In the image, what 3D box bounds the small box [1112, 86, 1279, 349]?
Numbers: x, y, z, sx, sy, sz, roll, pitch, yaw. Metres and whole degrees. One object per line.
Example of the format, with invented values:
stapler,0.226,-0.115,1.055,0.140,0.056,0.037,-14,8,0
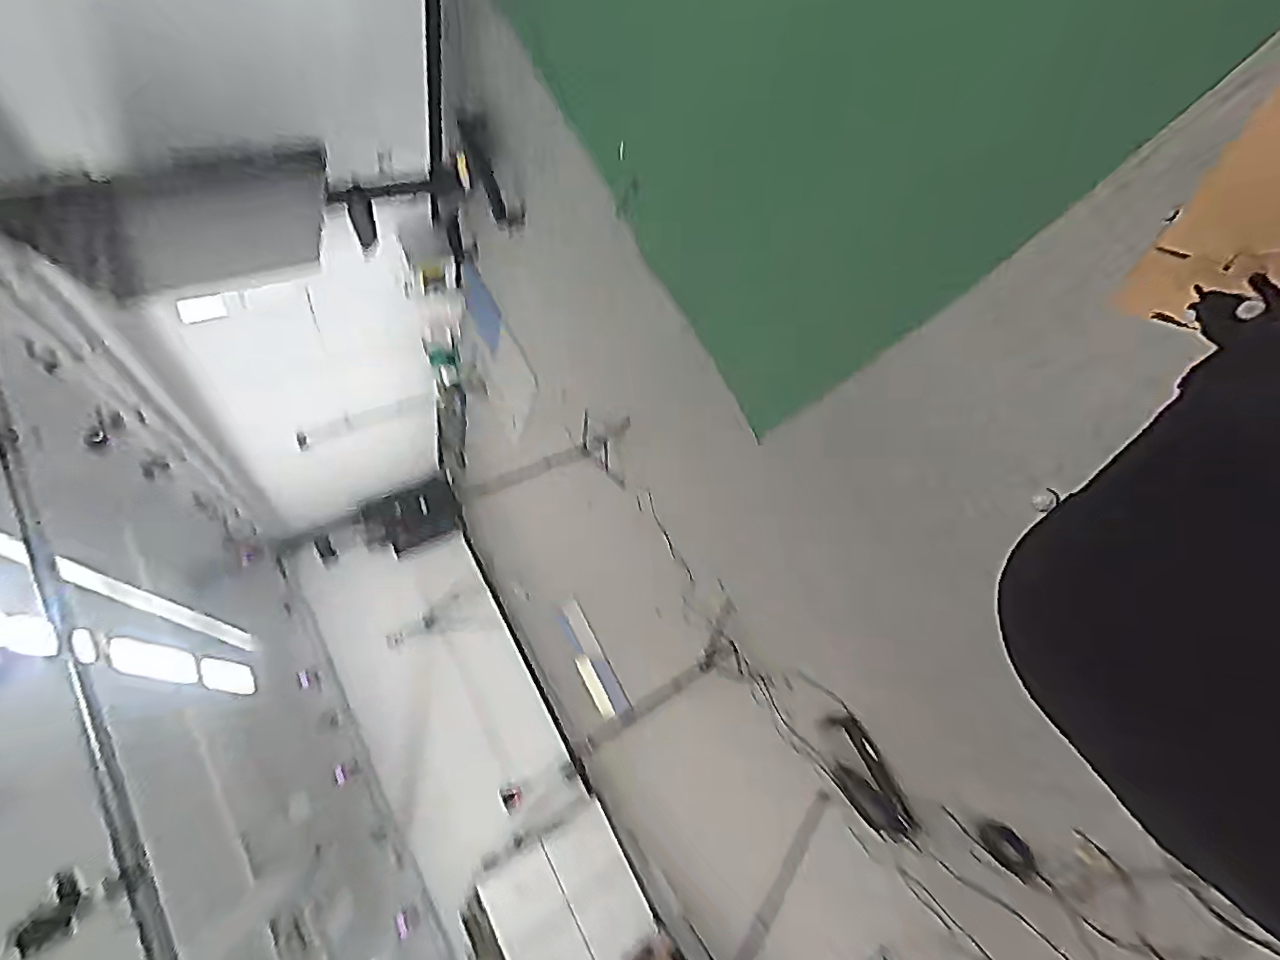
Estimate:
small box,0.654,-0.262,0.558,0.168,0.179,0.176,35,105,25
